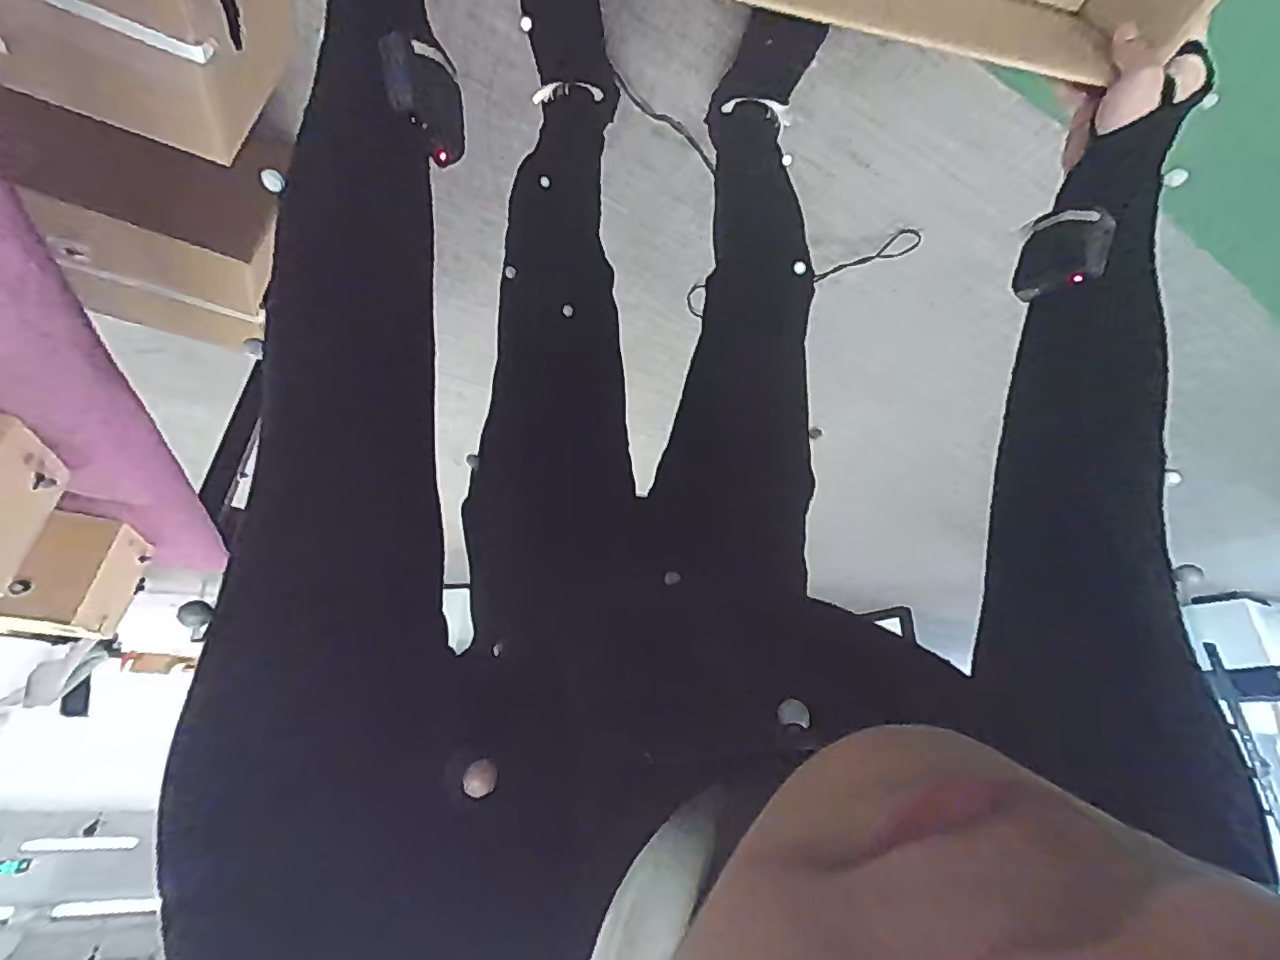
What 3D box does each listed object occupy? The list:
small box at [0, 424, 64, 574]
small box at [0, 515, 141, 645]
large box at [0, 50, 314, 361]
[{"bbox_3d":[-0.780,0.020,0.562,0.179,0.176,0.168,17,152,-24],"label":"small box"},{"bbox_3d":[-0.943,0.156,0.856,0.179,0.176,0.168,16,151,-21],"label":"small box"},{"bbox_3d":[-0.903,-0.493,1.037,0.408,0.320,0.320,16,151,-22],"label":"large box"}]
